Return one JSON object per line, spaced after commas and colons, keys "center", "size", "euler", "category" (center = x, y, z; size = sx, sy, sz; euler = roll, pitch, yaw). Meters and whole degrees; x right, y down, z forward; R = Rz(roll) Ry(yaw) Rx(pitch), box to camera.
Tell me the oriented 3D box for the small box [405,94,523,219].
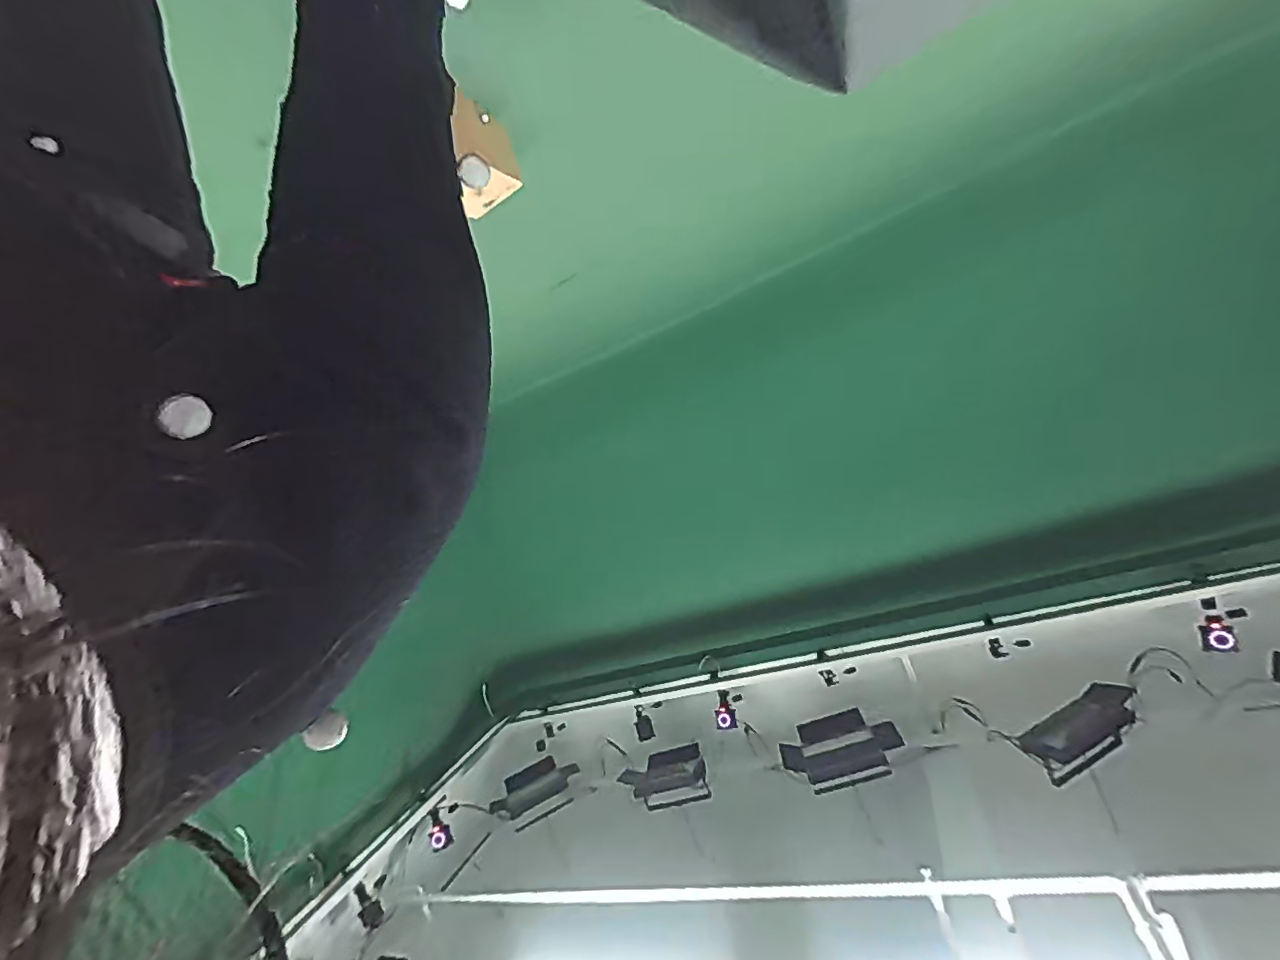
{"center": [-0.414, -0.757, 1.270], "size": [0.168, 0.176, 0.179], "euler": [-21, -179, 25], "category": "small box"}
